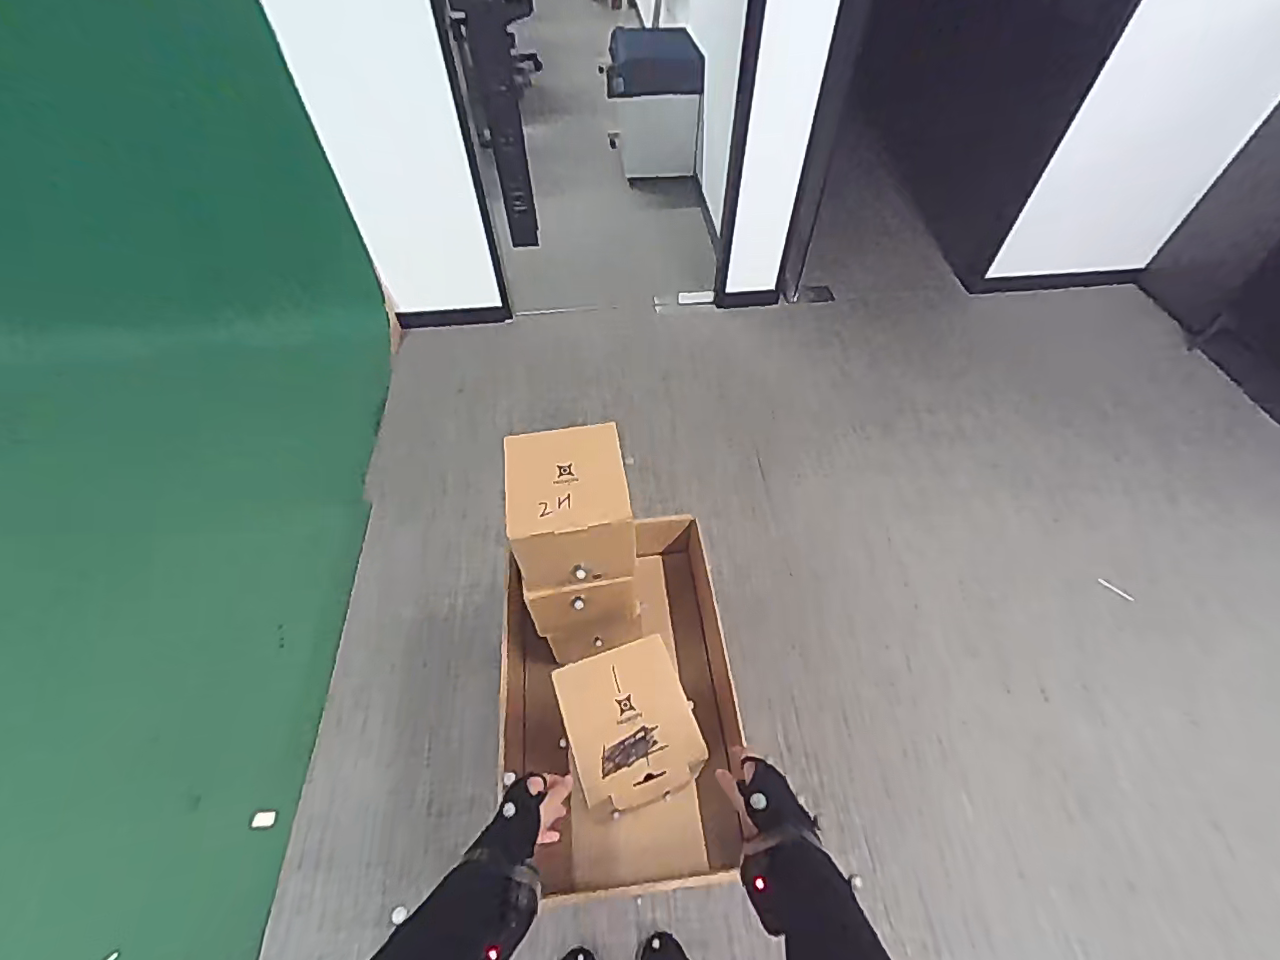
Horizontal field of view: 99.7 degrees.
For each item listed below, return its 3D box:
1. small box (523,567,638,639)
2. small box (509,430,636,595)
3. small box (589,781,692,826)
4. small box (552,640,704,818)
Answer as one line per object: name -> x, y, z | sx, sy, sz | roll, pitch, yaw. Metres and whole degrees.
small box -> -0.102, 0.159, 0.939 | 0.179, 0.176, 0.168 | -10, 54, -6
small box -> -0.099, 0.051, 0.813 | 0.168, 0.176, 0.179 | -8, 54, -4
small box -> -0.022, 0.463, 0.916 | 0.168, 0.176, 0.179 | -16, 54, -12
small box -> -0.020, 0.366, 0.784 | 0.168, 0.176, 0.179 | -15, 53, -13
